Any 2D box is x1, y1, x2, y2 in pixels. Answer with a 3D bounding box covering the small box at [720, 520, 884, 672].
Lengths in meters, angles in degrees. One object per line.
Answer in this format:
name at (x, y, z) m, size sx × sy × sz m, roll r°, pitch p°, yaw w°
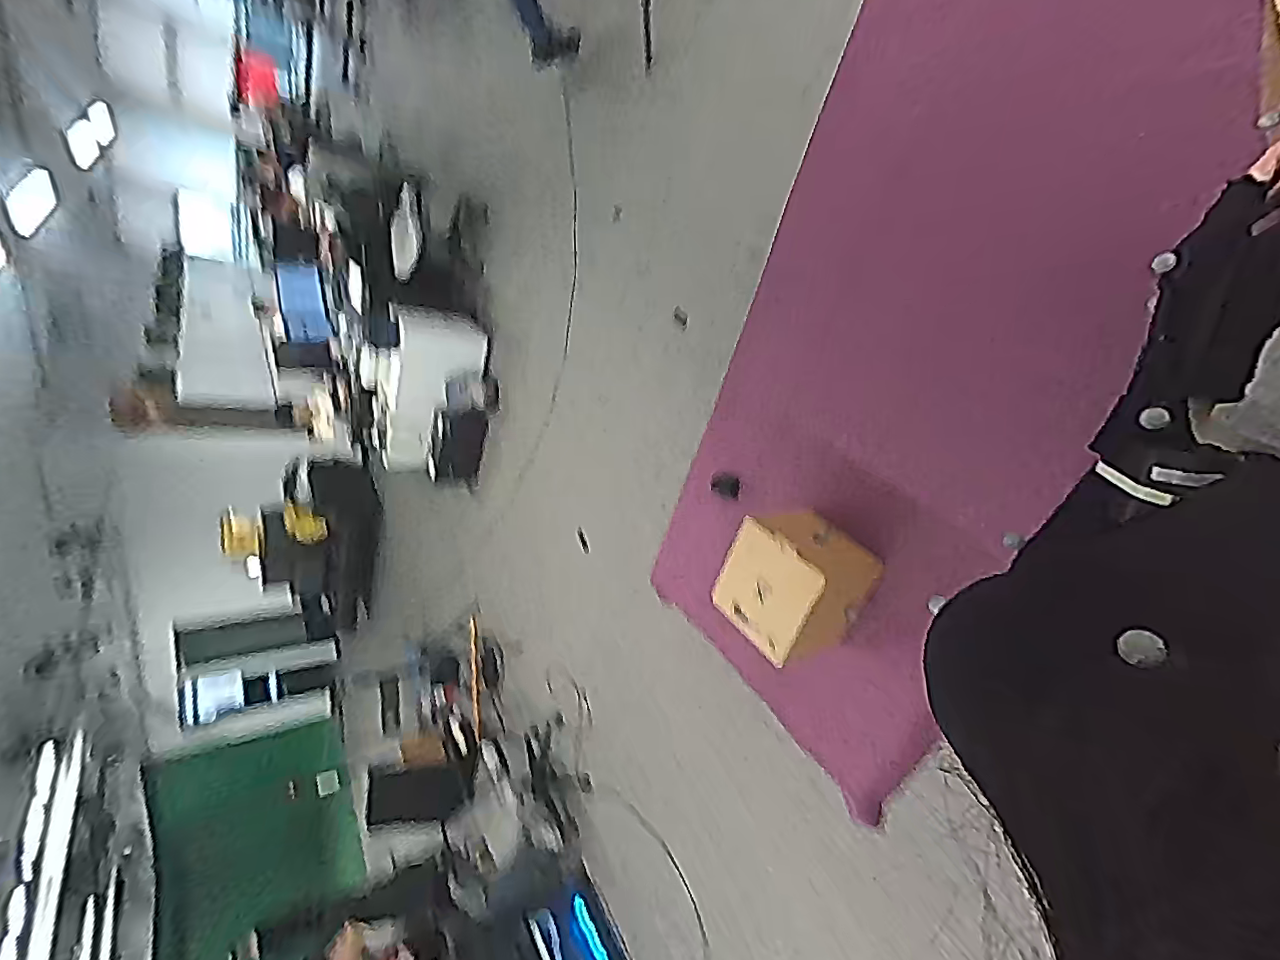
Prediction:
small box at (0.269, 0.178, 0.892) m, size 0.168 × 0.176 × 0.179 m, roll 43°, pitch 123°, yaw 43°
